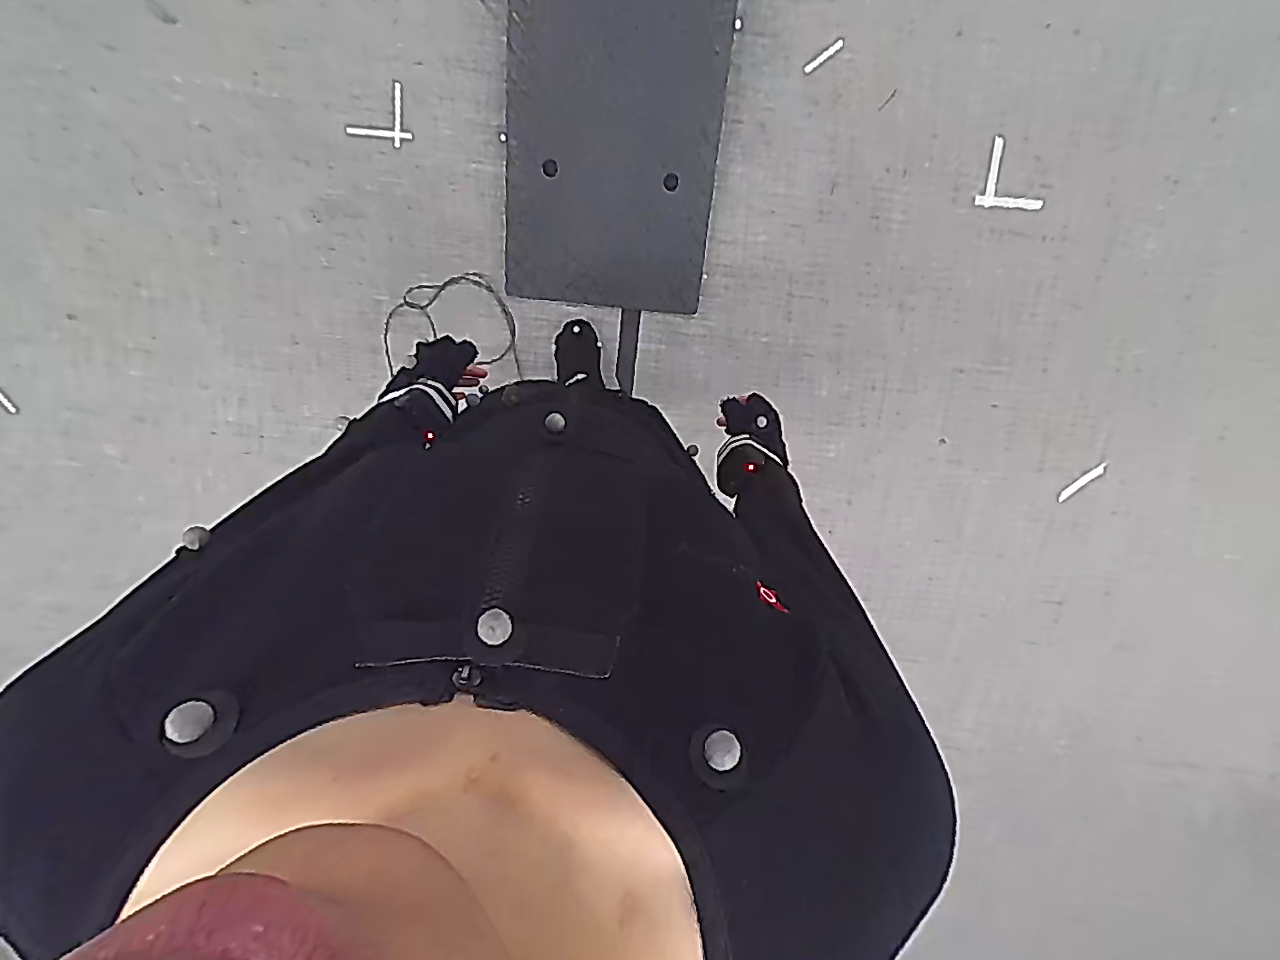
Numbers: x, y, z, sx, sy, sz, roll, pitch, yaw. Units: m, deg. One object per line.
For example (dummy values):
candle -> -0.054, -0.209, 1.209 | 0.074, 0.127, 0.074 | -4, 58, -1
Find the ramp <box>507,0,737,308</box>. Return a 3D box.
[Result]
ramp -> -0.045, -0.919, 1.193 | 0.509, 0.206, 0.991 | 3, 102, -3
